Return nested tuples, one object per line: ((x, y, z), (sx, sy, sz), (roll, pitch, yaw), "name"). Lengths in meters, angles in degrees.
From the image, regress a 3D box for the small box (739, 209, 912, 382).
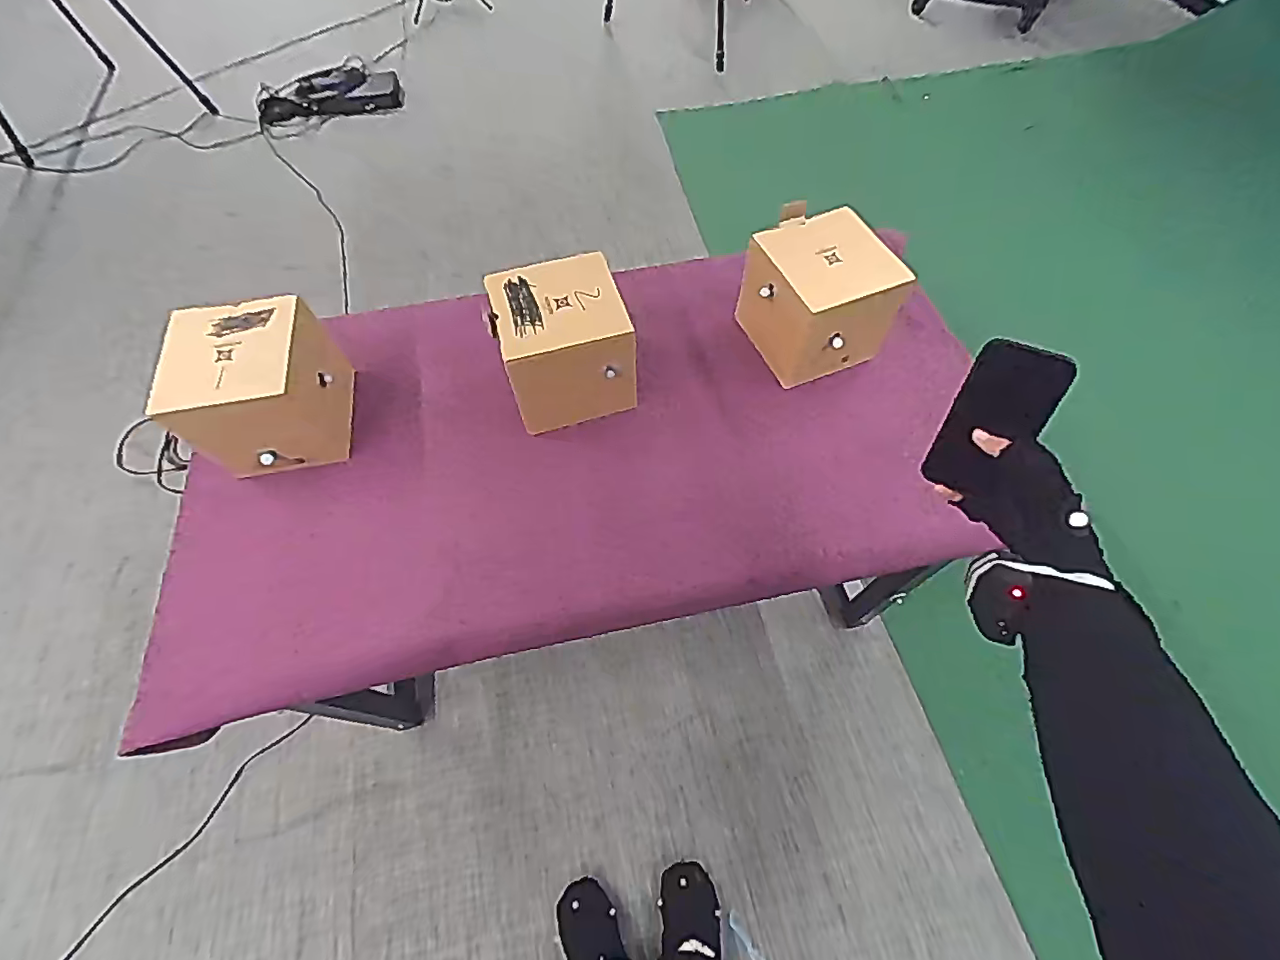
((0.270, -0.272, 0.832), (0.168, 0.176, 0.179), (-20, 62, -9), "small box")

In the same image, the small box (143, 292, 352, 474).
((-0.529, -0.132, 0.761), (0.168, 0.176, 0.179), (-10, 63, -5), "small box")
